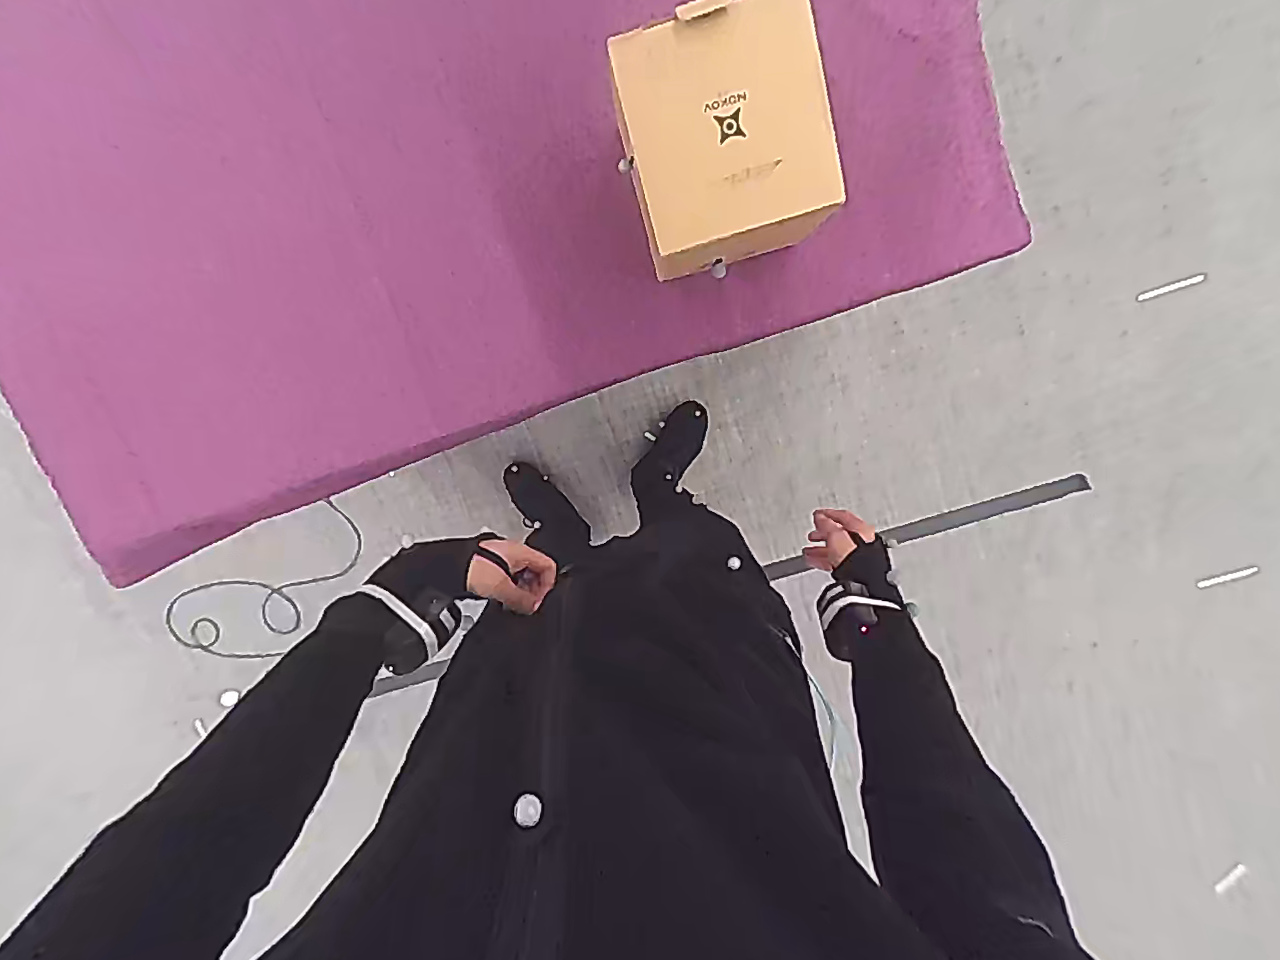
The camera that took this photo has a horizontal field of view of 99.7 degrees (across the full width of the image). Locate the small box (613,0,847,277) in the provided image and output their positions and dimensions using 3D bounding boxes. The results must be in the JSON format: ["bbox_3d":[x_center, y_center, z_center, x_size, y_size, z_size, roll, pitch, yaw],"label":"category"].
[{"bbox_3d":[0.077,-0.314,0.518,0.168,0.176,0.179,-14,101,5],"label":"small box"}]
